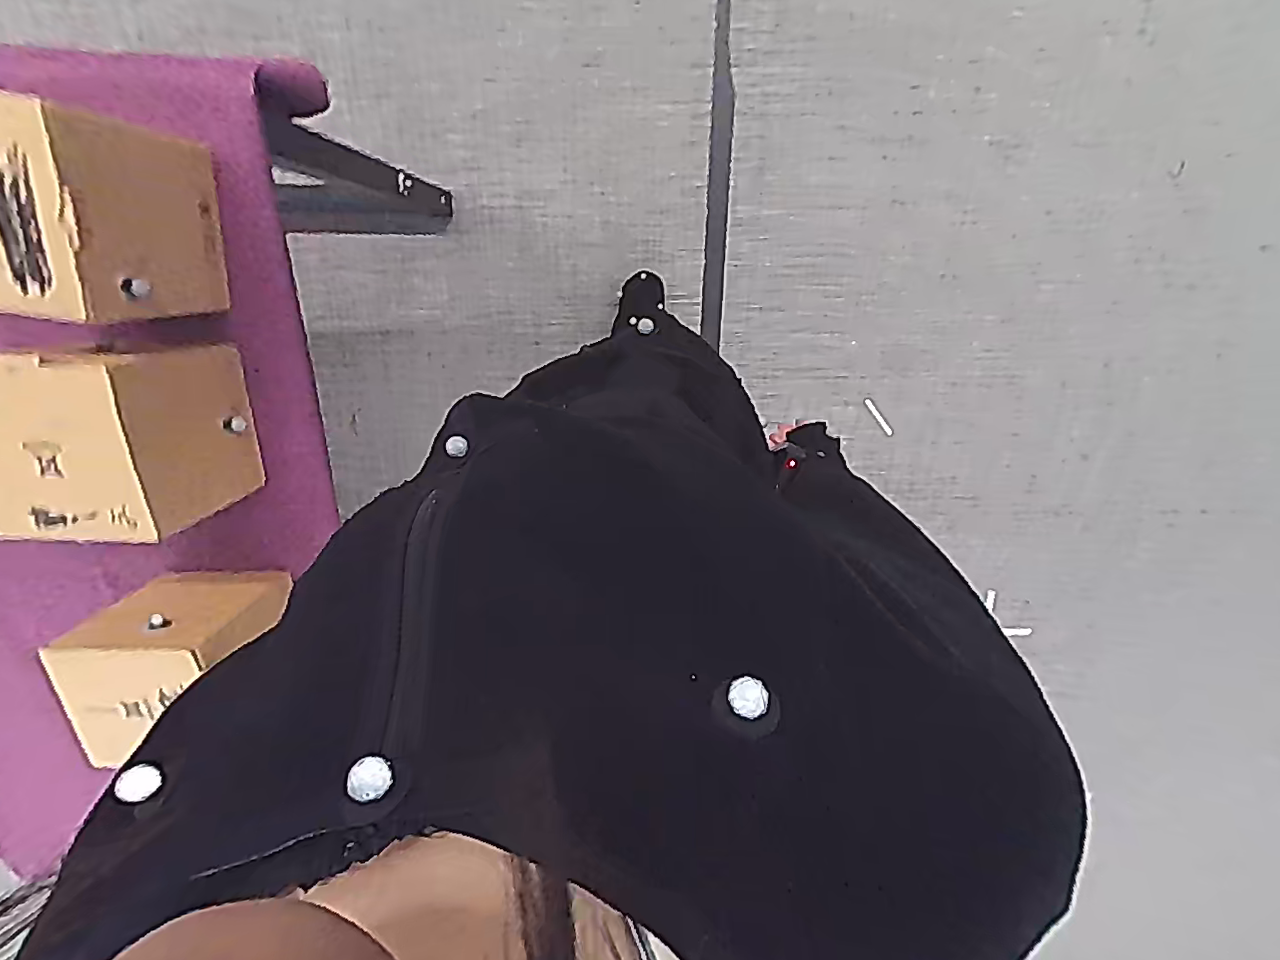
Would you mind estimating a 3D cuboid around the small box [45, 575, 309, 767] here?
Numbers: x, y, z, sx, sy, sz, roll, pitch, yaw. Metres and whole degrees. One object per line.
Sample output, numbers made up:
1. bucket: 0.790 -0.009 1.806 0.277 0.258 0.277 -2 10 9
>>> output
1. small box: -0.552 0.231 0.682 0.179 0.176 0.168 -1 110 1
